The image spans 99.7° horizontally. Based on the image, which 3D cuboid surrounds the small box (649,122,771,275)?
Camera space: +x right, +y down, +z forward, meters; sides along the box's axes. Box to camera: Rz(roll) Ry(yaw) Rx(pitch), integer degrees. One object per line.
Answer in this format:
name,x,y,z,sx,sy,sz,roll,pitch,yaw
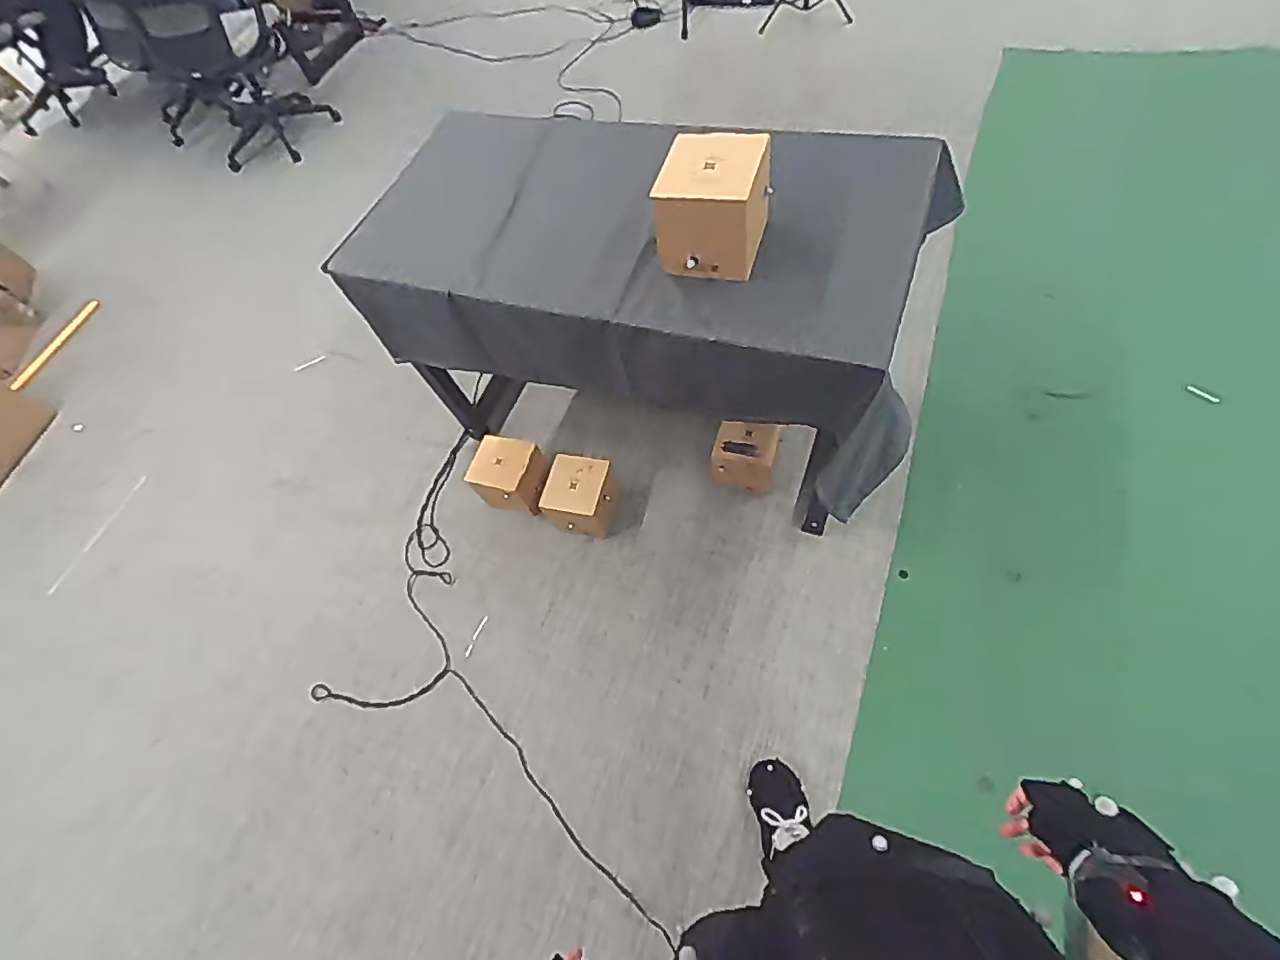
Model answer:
small box,0.128,-0.494,0.953,0.168,0.176,0.179,12,66,17
